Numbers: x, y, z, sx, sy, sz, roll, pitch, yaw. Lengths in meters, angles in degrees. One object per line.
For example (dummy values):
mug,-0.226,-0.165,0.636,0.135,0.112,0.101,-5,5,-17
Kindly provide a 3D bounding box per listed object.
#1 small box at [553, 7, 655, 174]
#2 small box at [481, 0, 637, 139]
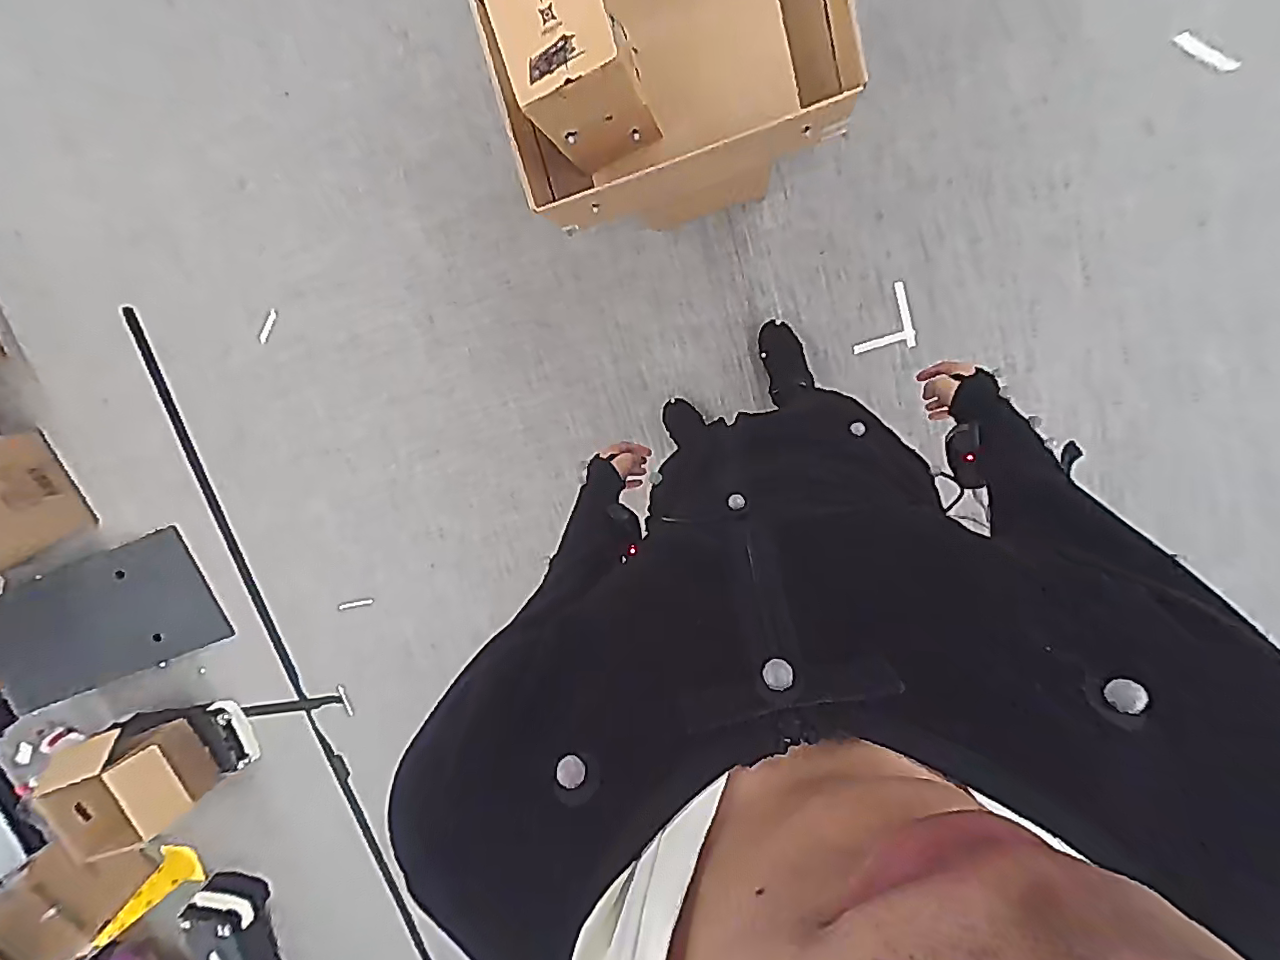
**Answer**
small box,-0.080,-0.706,1.004,0.179,0.176,0.168,-17,100,16
small box,-0.117,-0.671,0.849,0.168,0.176,0.179,-16,99,15
